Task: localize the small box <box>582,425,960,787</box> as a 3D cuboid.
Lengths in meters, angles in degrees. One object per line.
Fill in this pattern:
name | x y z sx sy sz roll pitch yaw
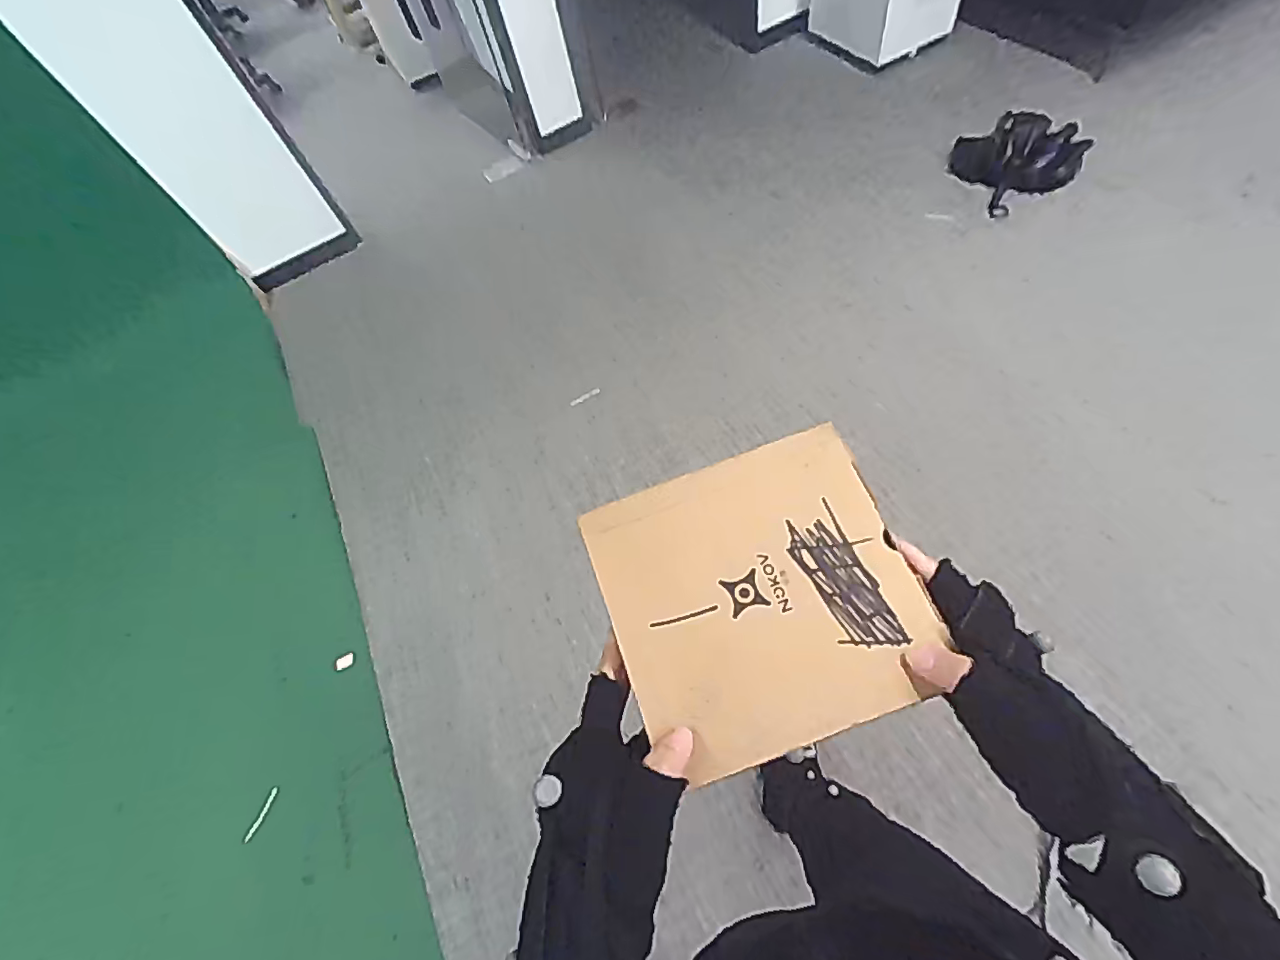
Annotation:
small box | 0.075 0.091 0.395 0.179 0.176 0.168 -22 69 -4
